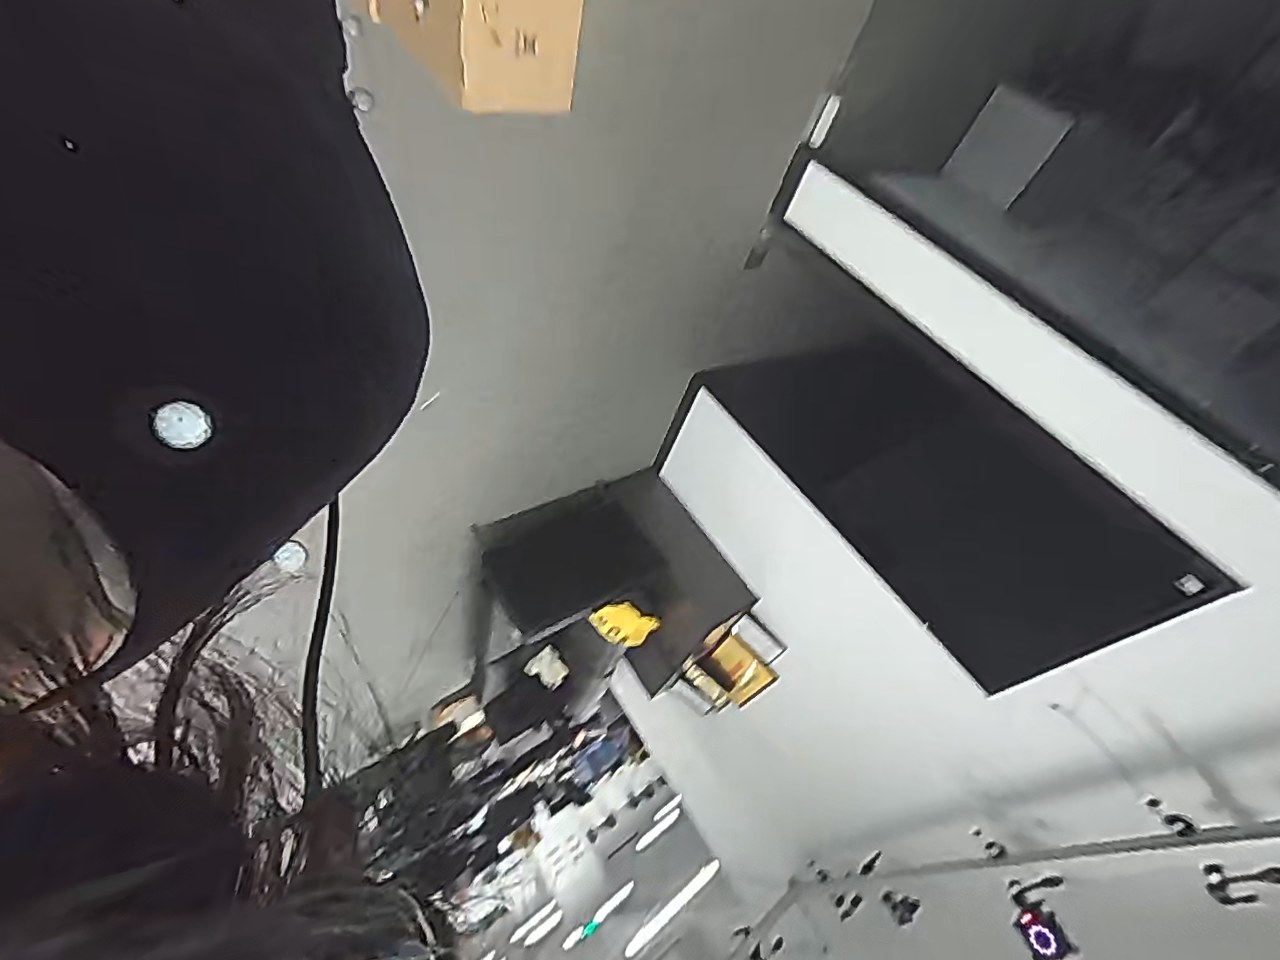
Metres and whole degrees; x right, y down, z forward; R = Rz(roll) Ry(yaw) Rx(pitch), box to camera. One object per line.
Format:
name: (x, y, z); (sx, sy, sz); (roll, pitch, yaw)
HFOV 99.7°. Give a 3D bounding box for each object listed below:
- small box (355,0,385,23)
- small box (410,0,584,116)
small box: (-0.396, -0.875, 0.888); (0.179, 0.176, 0.168); (-22, 153, -32)
small box: (-0.204, -0.641, 0.757); (0.179, 0.176, 0.168); (-22, 152, -32)
